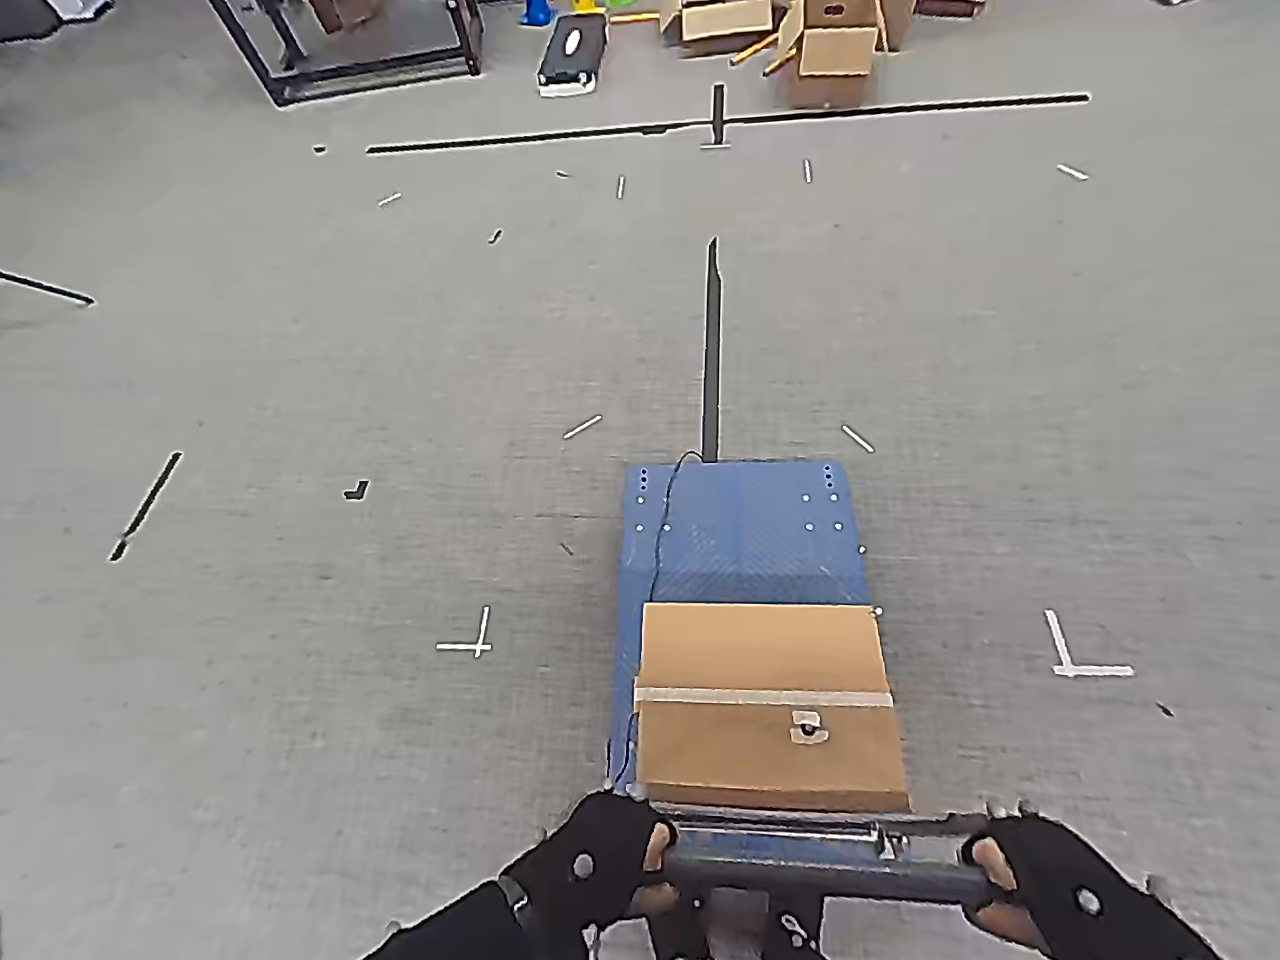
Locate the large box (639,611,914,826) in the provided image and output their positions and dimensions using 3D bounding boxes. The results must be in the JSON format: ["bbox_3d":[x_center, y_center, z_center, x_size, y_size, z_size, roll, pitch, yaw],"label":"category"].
[{"bbox_3d":[0.210,0.439,0.987,0.408,0.320,0.320,0,60,5],"label":"large box"}]
